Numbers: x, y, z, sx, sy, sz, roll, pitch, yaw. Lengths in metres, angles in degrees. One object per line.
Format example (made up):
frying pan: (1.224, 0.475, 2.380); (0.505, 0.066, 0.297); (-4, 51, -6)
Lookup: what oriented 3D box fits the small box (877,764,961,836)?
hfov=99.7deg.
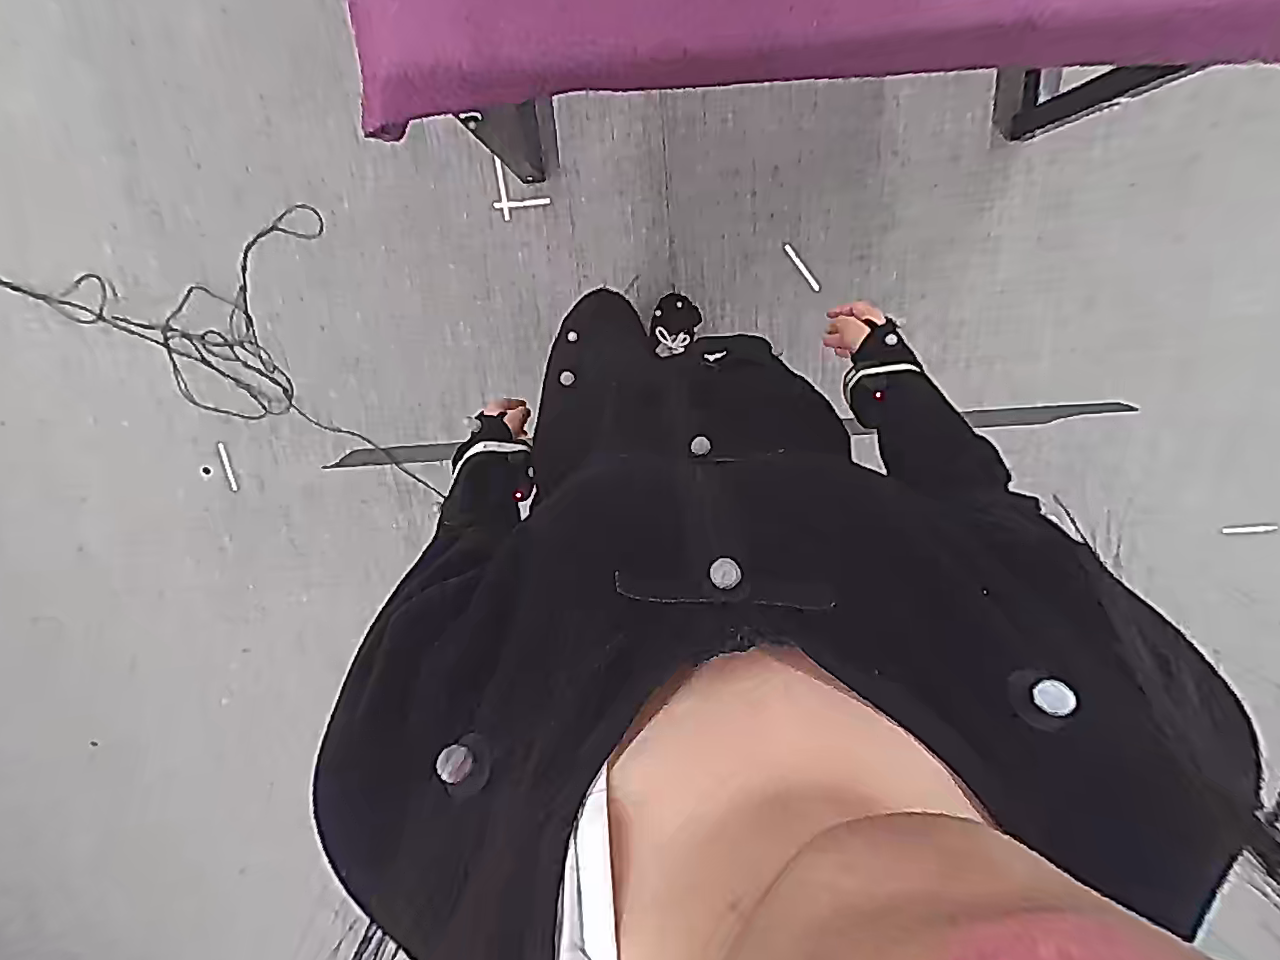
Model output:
small box: (0.927, 1.086, 1.789); (0.179, 0.176, 0.168); (40, 105, -13)

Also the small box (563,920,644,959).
small box: (-0.096, 1.298, 1.400); (0.179, 0.176, 0.168); (-42, 104, 12)
